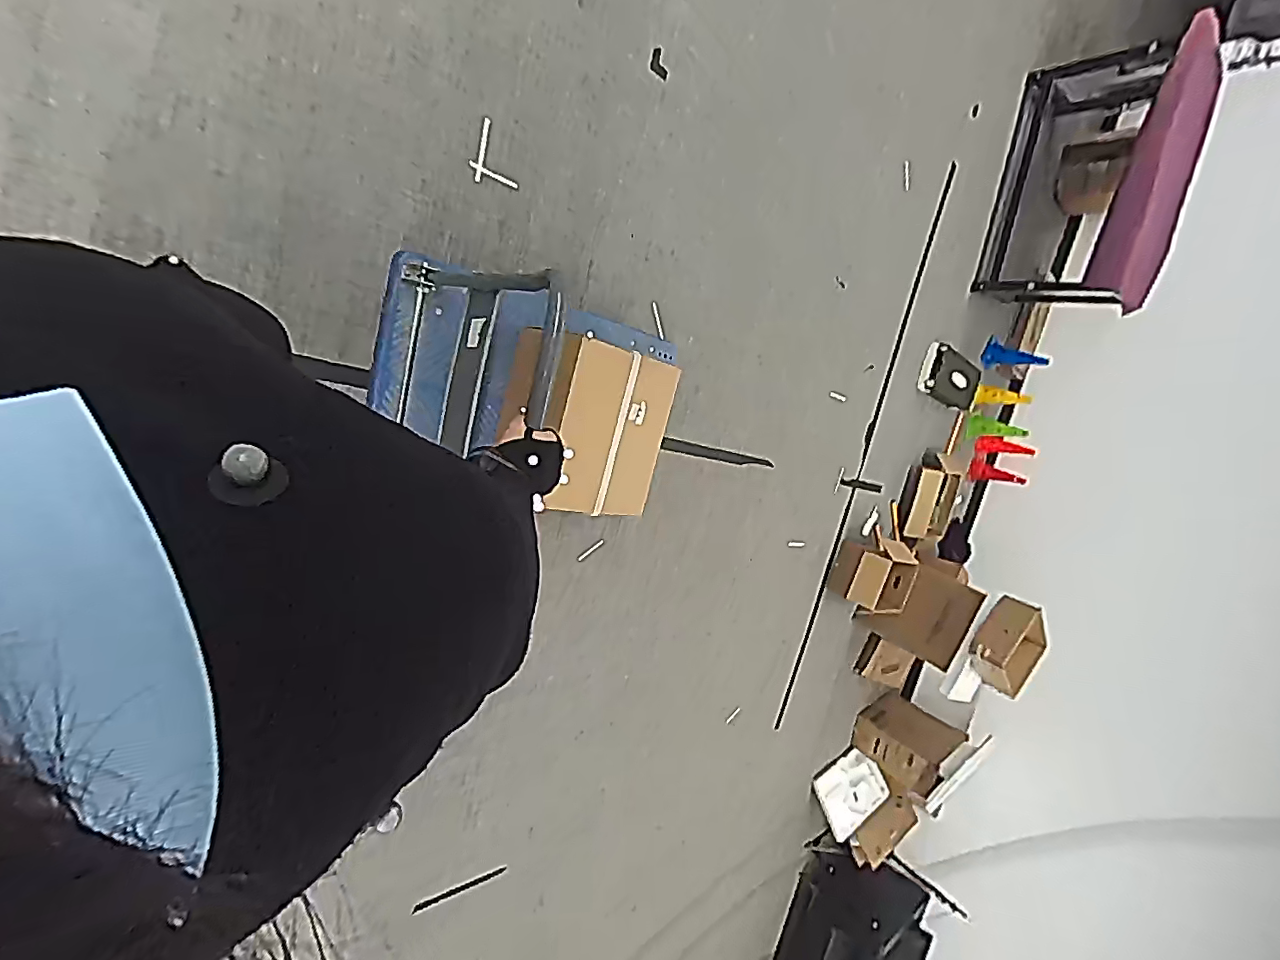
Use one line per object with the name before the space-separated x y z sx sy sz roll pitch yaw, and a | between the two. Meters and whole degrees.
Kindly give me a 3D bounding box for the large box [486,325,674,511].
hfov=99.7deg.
large box | -0.165 -0.157 1.402 0.320 0.320 0.408 8 100 -43
